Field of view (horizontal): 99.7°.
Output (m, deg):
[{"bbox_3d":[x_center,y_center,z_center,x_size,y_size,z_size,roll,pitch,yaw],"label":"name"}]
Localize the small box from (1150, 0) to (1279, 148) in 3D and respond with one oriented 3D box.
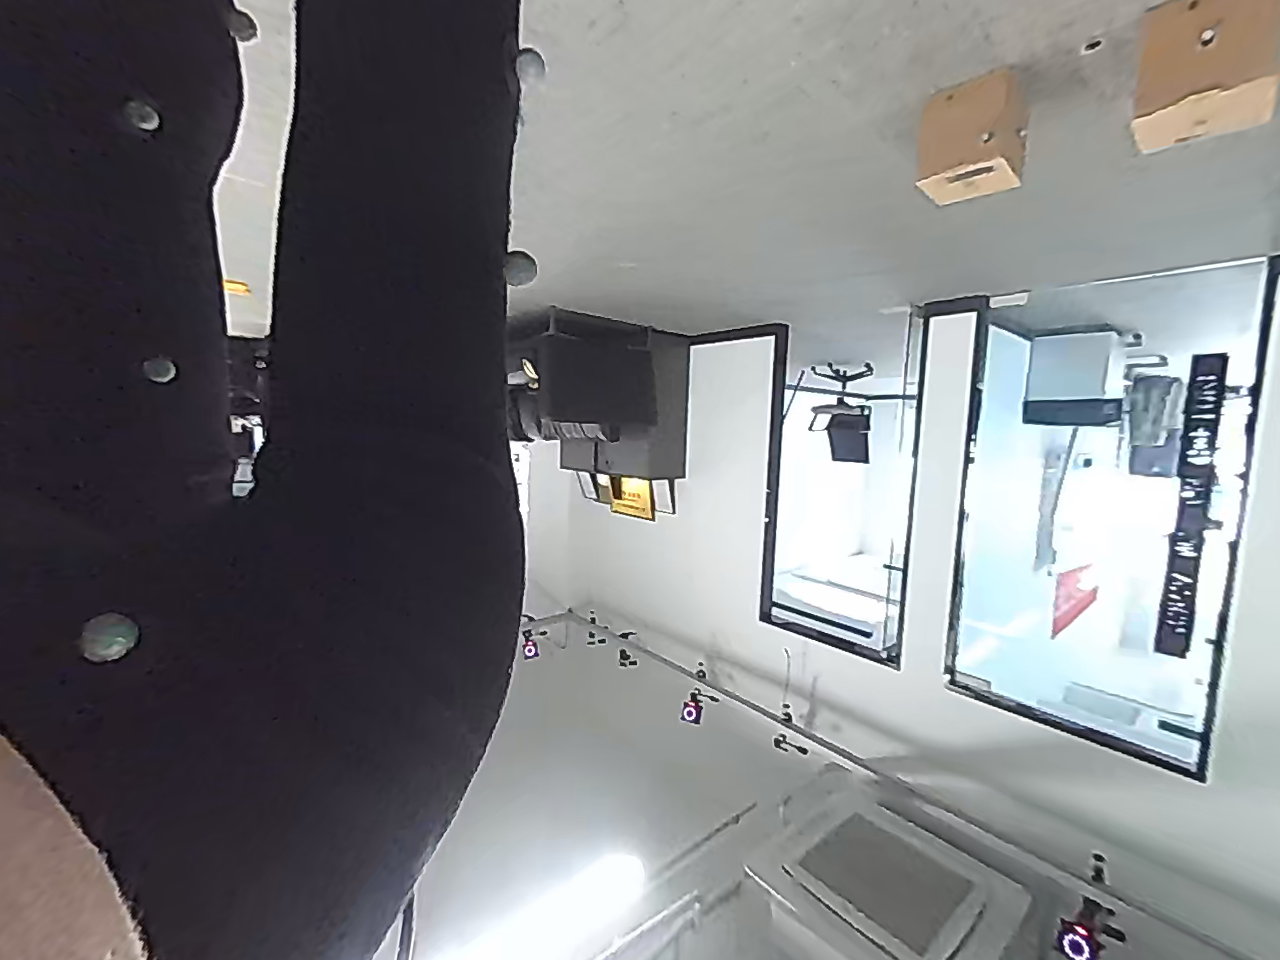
[{"bbox_3d":[0.950,-0.683,0.872,0.179,0.176,0.168,-3,-172,-42],"label":"small box"}]
